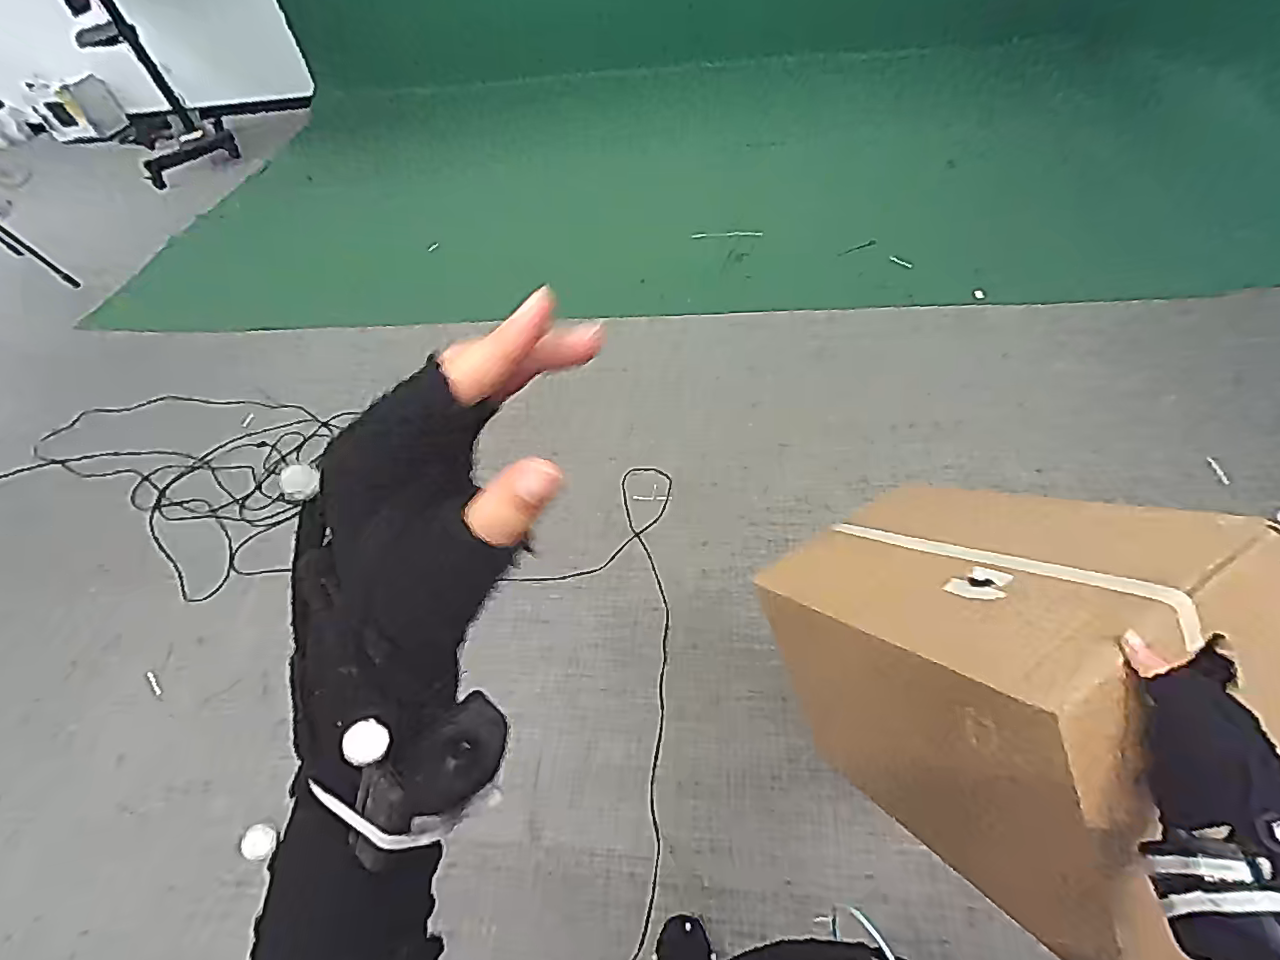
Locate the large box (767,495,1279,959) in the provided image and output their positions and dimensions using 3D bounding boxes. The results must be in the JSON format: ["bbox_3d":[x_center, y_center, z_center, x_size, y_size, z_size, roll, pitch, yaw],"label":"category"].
[{"bbox_3d":[0.425,0.233,0.638,0.320,0.320,0.408,-26,12,-16],"label":"large box"}]
